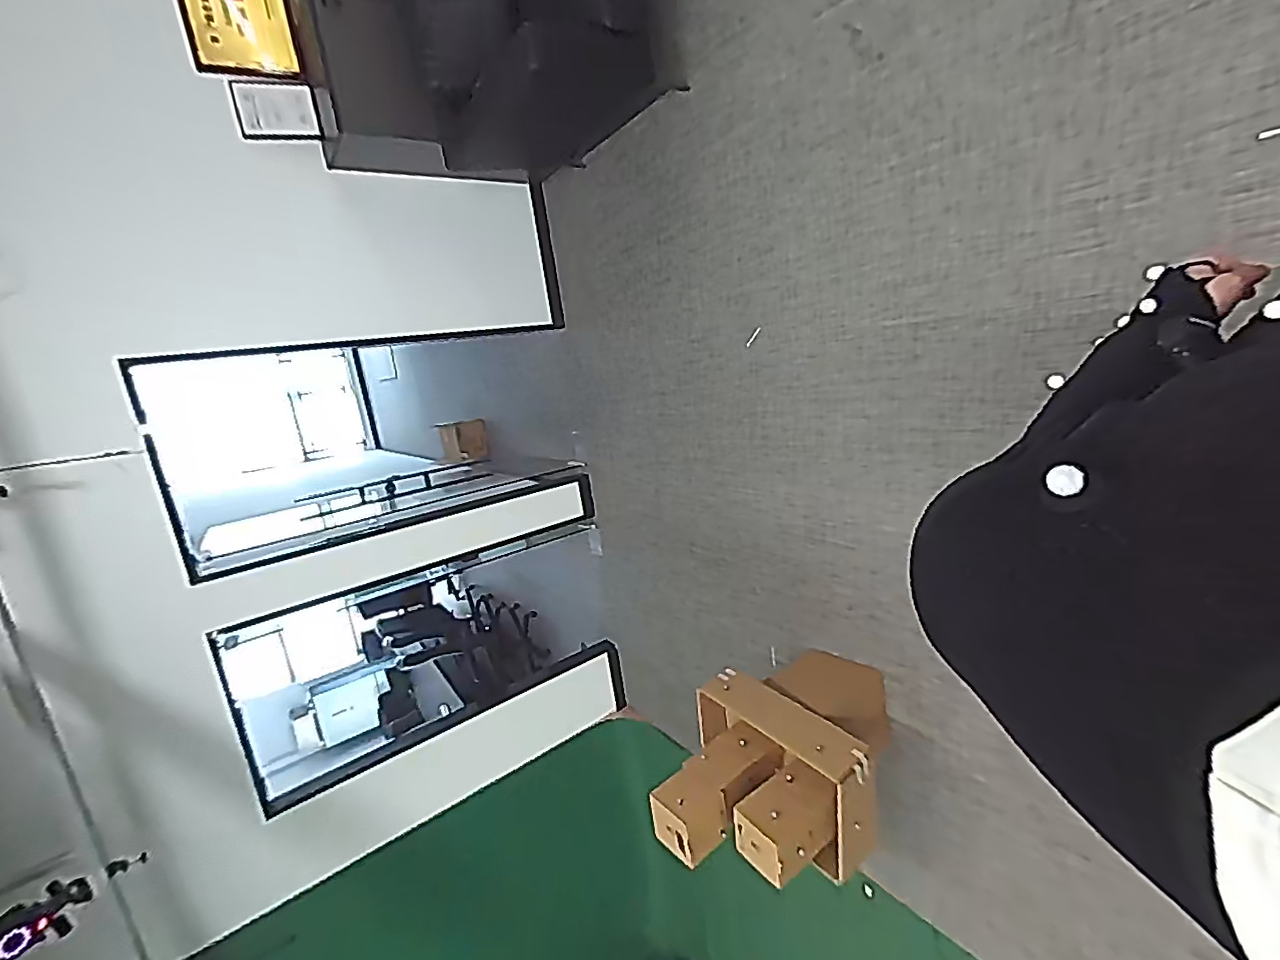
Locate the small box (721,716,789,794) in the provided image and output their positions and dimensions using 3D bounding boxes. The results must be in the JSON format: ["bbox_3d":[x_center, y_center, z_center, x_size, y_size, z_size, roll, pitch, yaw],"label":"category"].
[{"bbox_3d":[0.416,0.988,1.953,0.179,0.176,0.168,10,111,51],"label":"small box"}]

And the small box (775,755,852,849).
[{"bbox_3d":[0.559,1.028,1.748,0.179,0.176,0.168,16,117,54],"label":"small box"}]

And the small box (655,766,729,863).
[{"bbox_3d":[0.174,1.065,1.743,0.179,0.176,0.168,8,110,52],"label":"small box"}]

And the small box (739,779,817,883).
[{"bbox_3d":[0.427,1.066,1.660,0.179,0.176,0.168,15,115,53],"label":"small box"}]
